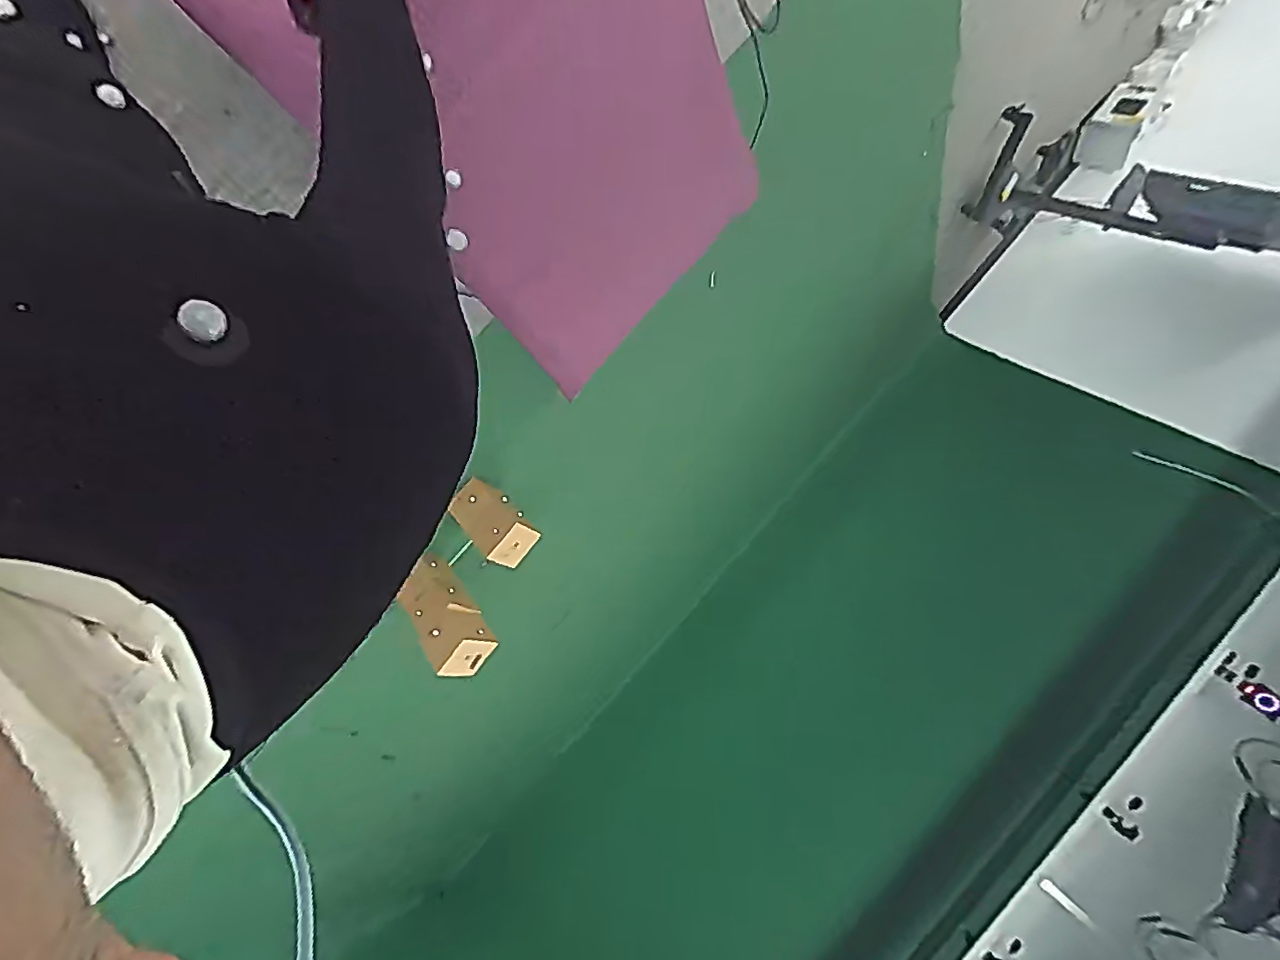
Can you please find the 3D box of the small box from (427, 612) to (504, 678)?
[{"bbox_3d":[-0.645,0.608,1.995,0.168,0.176,0.179,-52,144,4],"label":"small box"}]

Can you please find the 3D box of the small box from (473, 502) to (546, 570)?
[{"bbox_3d":[-0.504,0.213,2.076,0.179,0.176,0.168,-50,146,-1],"label":"small box"}]

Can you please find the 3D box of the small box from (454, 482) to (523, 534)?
[{"bbox_3d":[-0.610,0.130,2.171,0.168,0.176,0.179,-50,147,-1],"label":"small box"}]

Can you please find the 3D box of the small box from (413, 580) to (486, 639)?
[{"bbox_3d":[-0.738,0.509,2.088,0.168,0.176,0.179,-49,146,0],"label":"small box"}]
